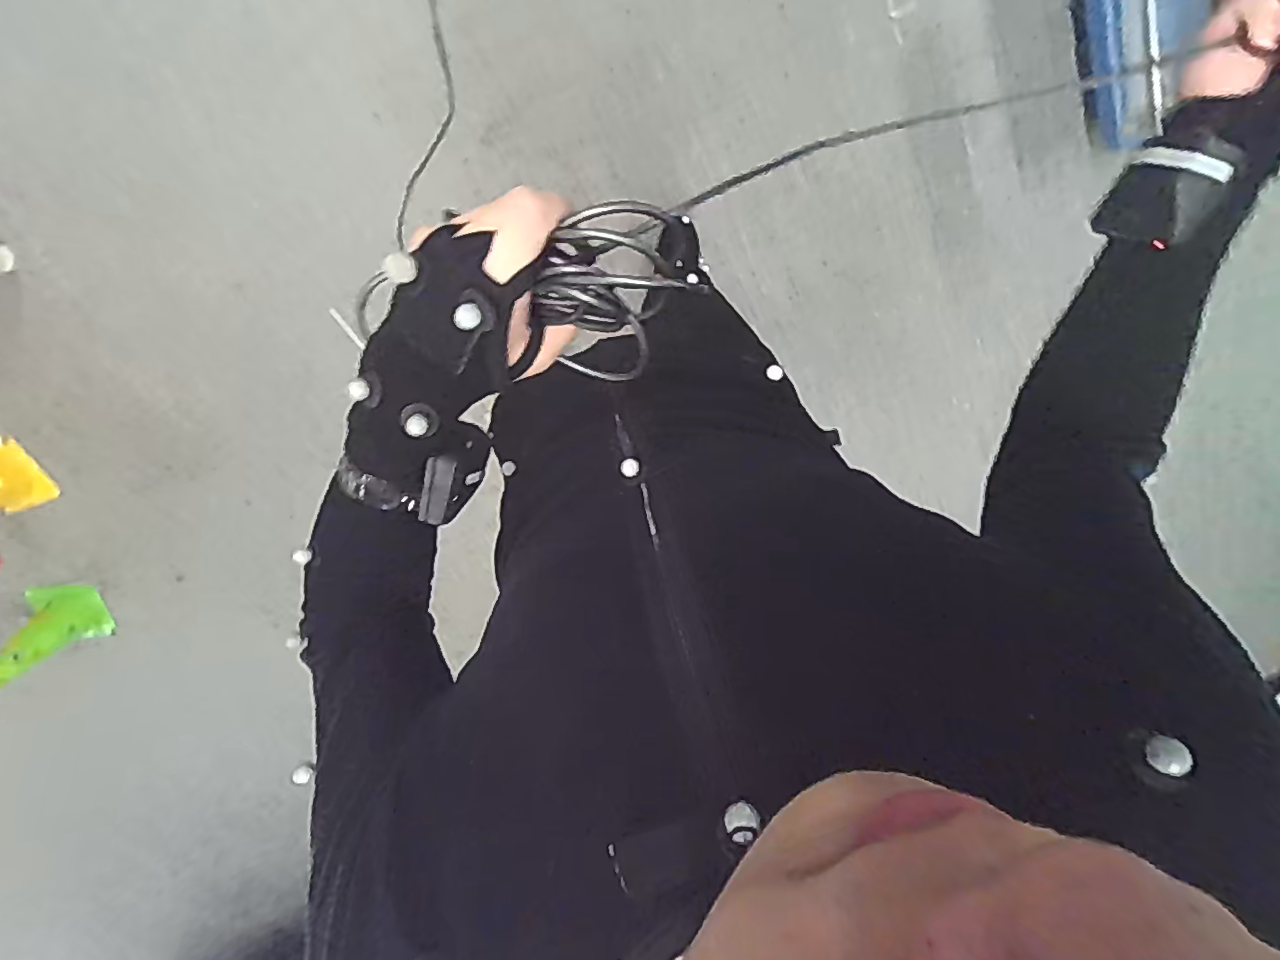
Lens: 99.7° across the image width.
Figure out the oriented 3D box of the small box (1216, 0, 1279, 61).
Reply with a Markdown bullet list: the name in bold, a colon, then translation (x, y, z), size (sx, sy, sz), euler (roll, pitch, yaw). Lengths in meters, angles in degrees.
- **small box**: translation (1.320, -0.982, 1.074), size (0.179, 0.176, 0.168), euler (-27, 116, 9)
